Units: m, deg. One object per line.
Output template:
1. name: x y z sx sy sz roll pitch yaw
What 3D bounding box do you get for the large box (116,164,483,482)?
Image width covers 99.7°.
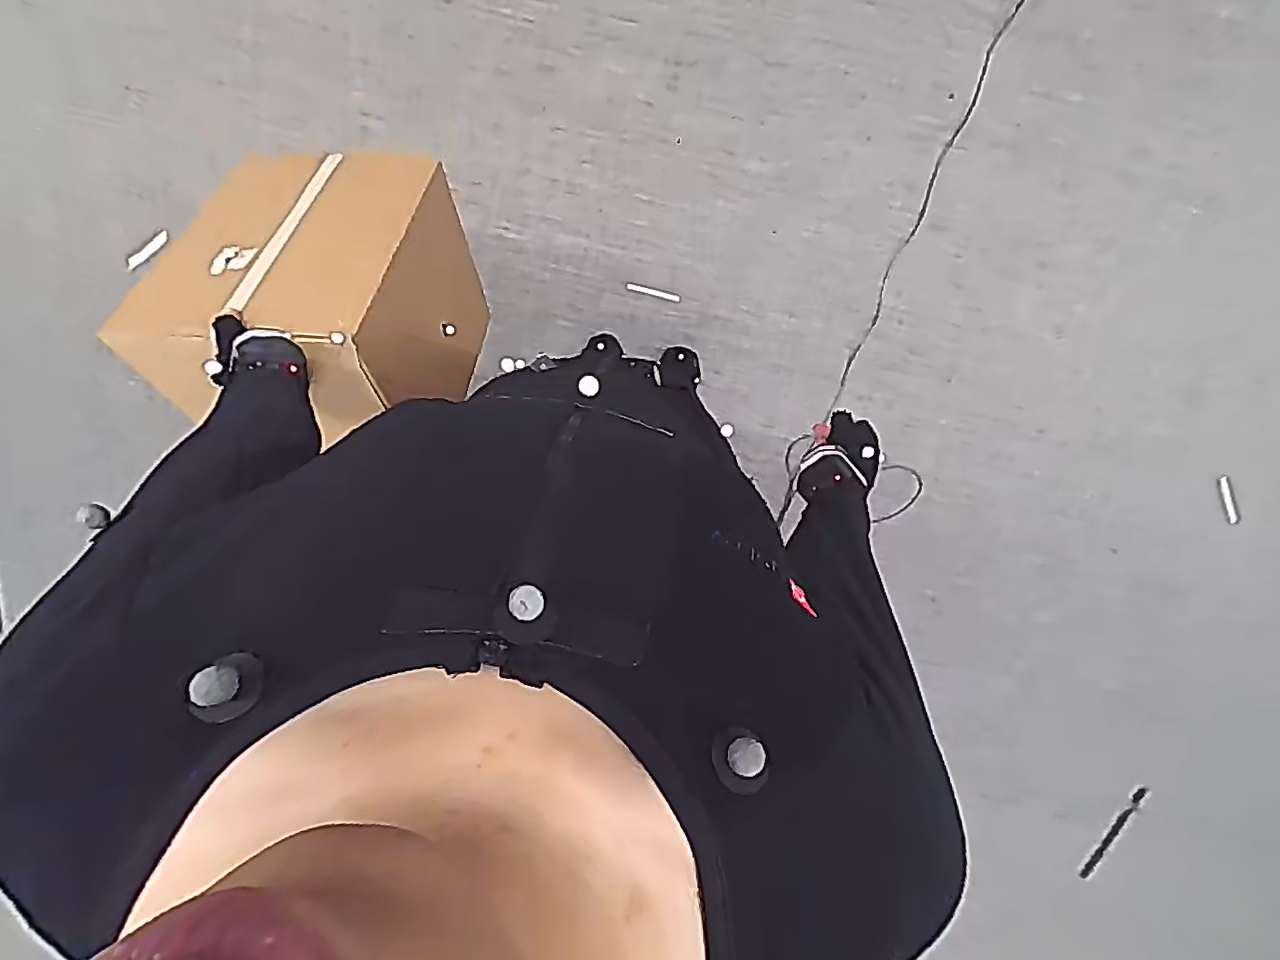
1. large box: -0.475 -0.247 0.877 0.320 0.408 0.320 2 148 3
